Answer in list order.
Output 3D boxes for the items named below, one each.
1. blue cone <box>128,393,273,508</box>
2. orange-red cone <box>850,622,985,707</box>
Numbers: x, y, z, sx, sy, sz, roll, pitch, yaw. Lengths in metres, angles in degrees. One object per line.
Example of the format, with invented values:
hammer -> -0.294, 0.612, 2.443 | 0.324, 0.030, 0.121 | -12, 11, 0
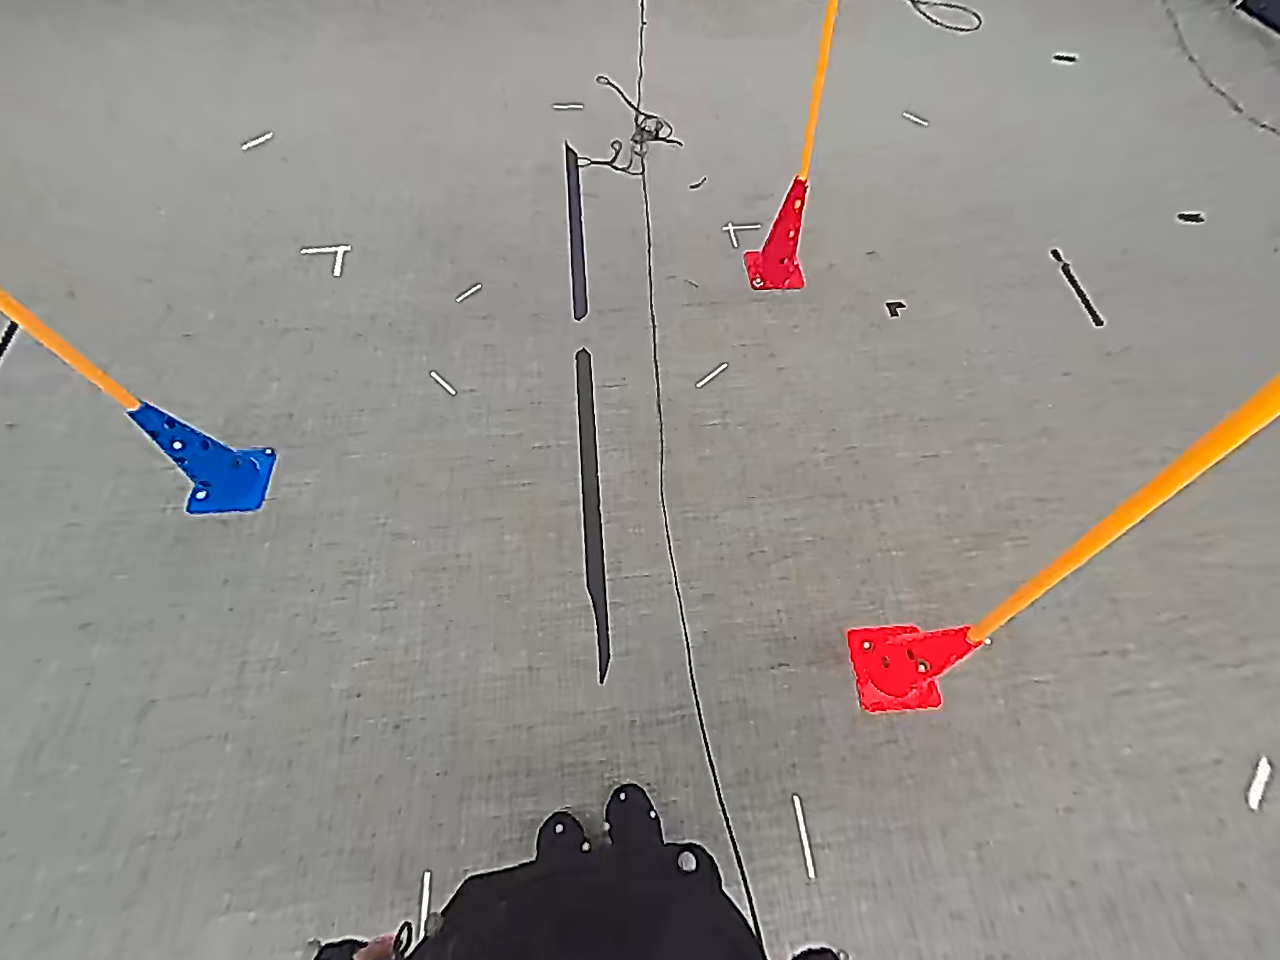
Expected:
blue cone -> -1.147, -0.085, 1.383 | 0.193, 0.380, 0.192 | -1, 61, -3
orange-red cone -> 0.631, 0.370, 1.177 | 0.198, 0.360, 0.199 | -2, 63, -3
